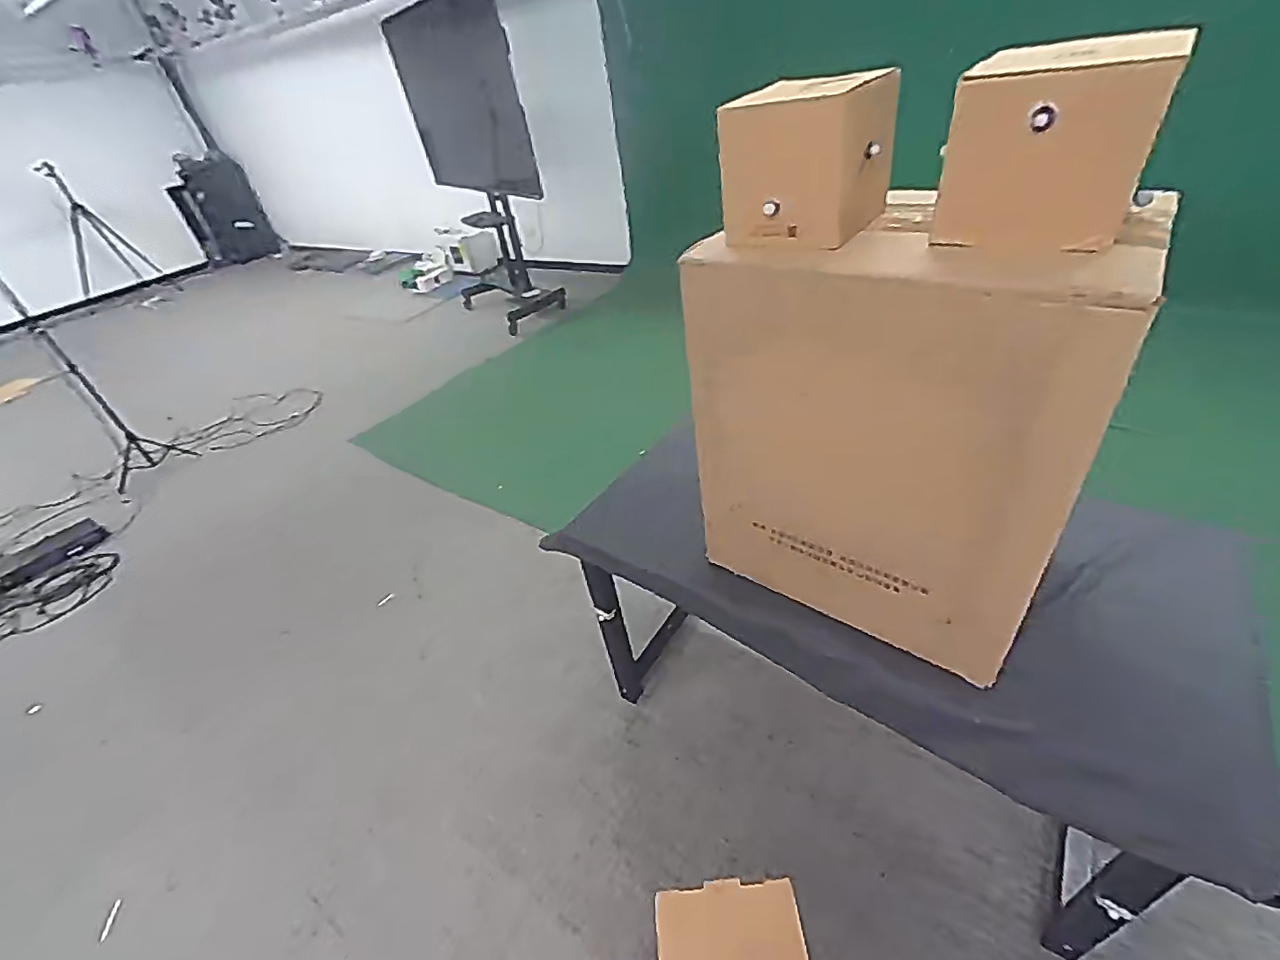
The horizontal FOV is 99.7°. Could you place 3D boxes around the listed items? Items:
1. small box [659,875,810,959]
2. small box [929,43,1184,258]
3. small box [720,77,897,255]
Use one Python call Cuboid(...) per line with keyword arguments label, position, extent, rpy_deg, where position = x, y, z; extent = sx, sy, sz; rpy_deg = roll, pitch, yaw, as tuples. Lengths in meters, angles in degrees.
Cuboid(label="small box", position=(0.112, 0.595, 0.630), extent=(0.168, 0.176, 0.179), rpy_deg=(-7, 38, 3))
Cuboid(label="small box", position=(0.447, -0.362, 0.602), extent=(0.179, 0.176, 0.168), rpy_deg=(22, 50, 32))
Cuboid(label="small box", position=(0.225, -0.423, 0.734), extent=(0.168, 0.176, 0.179), rpy_deg=(20, 49, 35))
